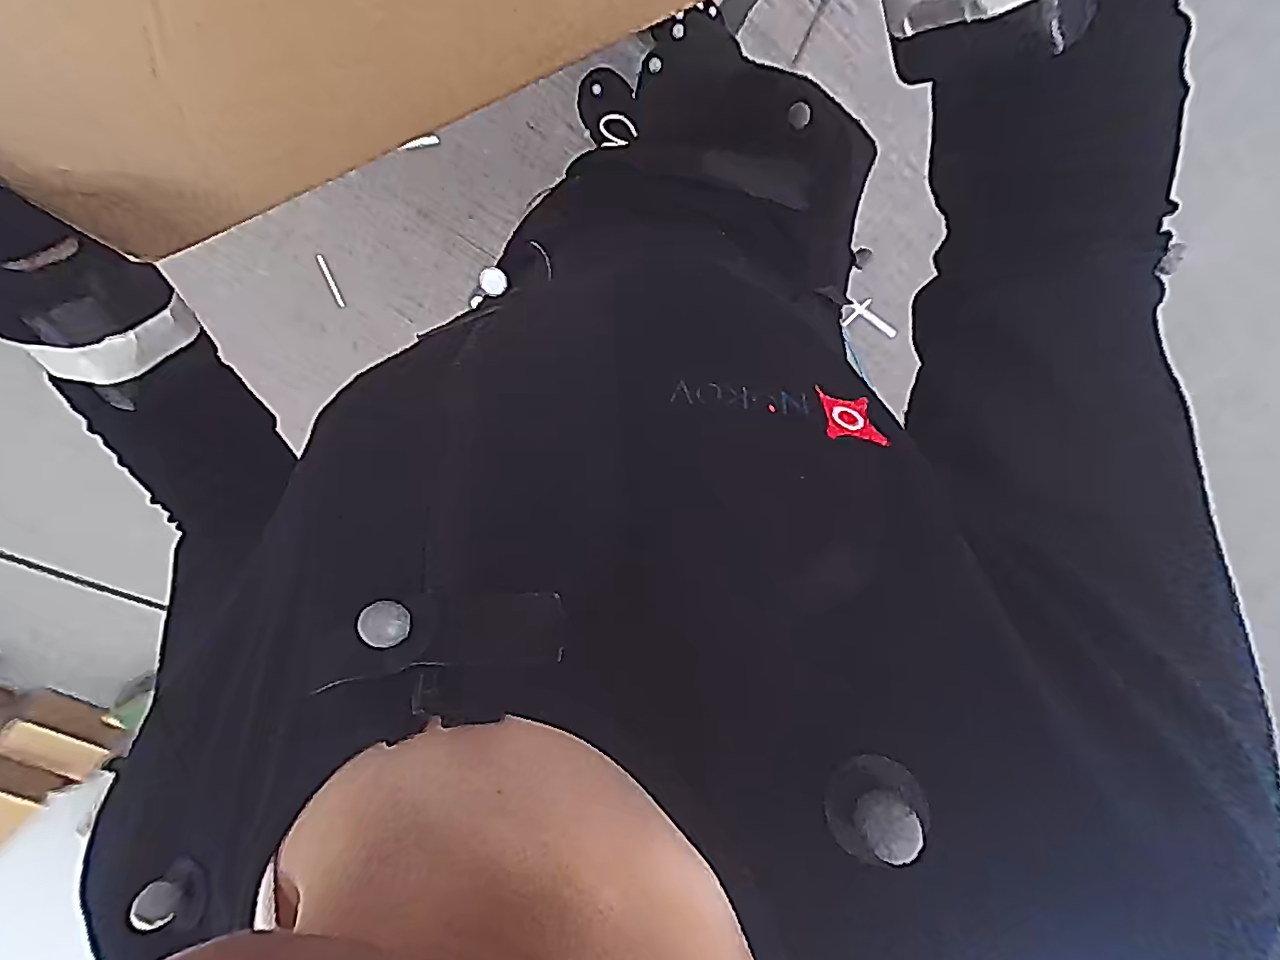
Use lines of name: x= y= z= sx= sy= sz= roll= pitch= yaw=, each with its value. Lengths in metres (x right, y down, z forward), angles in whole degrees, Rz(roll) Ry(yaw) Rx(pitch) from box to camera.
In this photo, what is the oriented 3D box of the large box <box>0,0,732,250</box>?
large box: x=-0.147 y=-0.355 z=0.168 sx=0.408 sy=0.320 sz=0.320 roll=-14 pitch=161 yaw=14
